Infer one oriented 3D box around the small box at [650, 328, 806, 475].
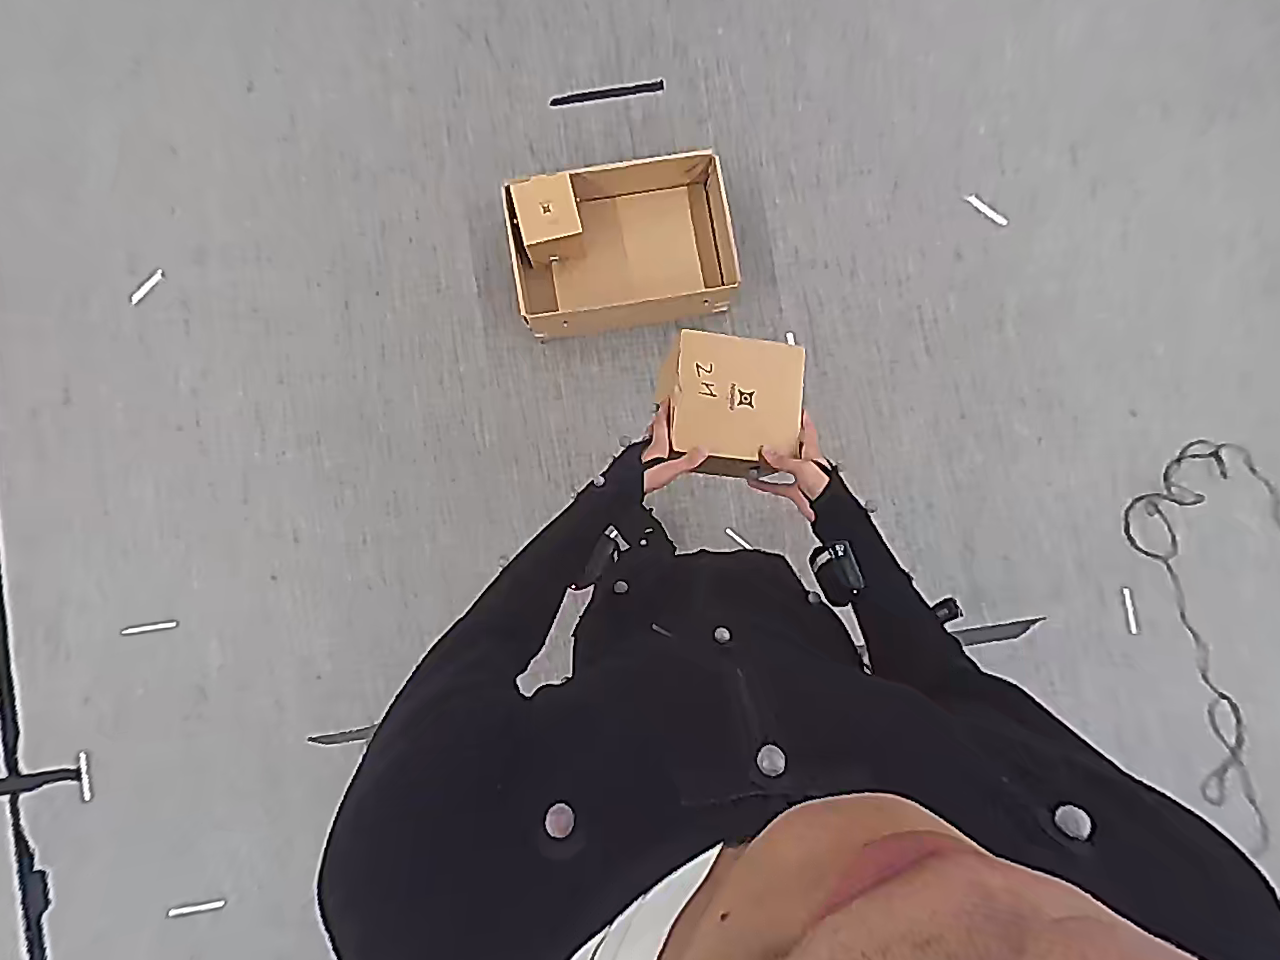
[{"bbox_3d":[0.118,-0.101,0.781,0.179,0.176,0.168,6,83,-6],"label":"small box"}]
